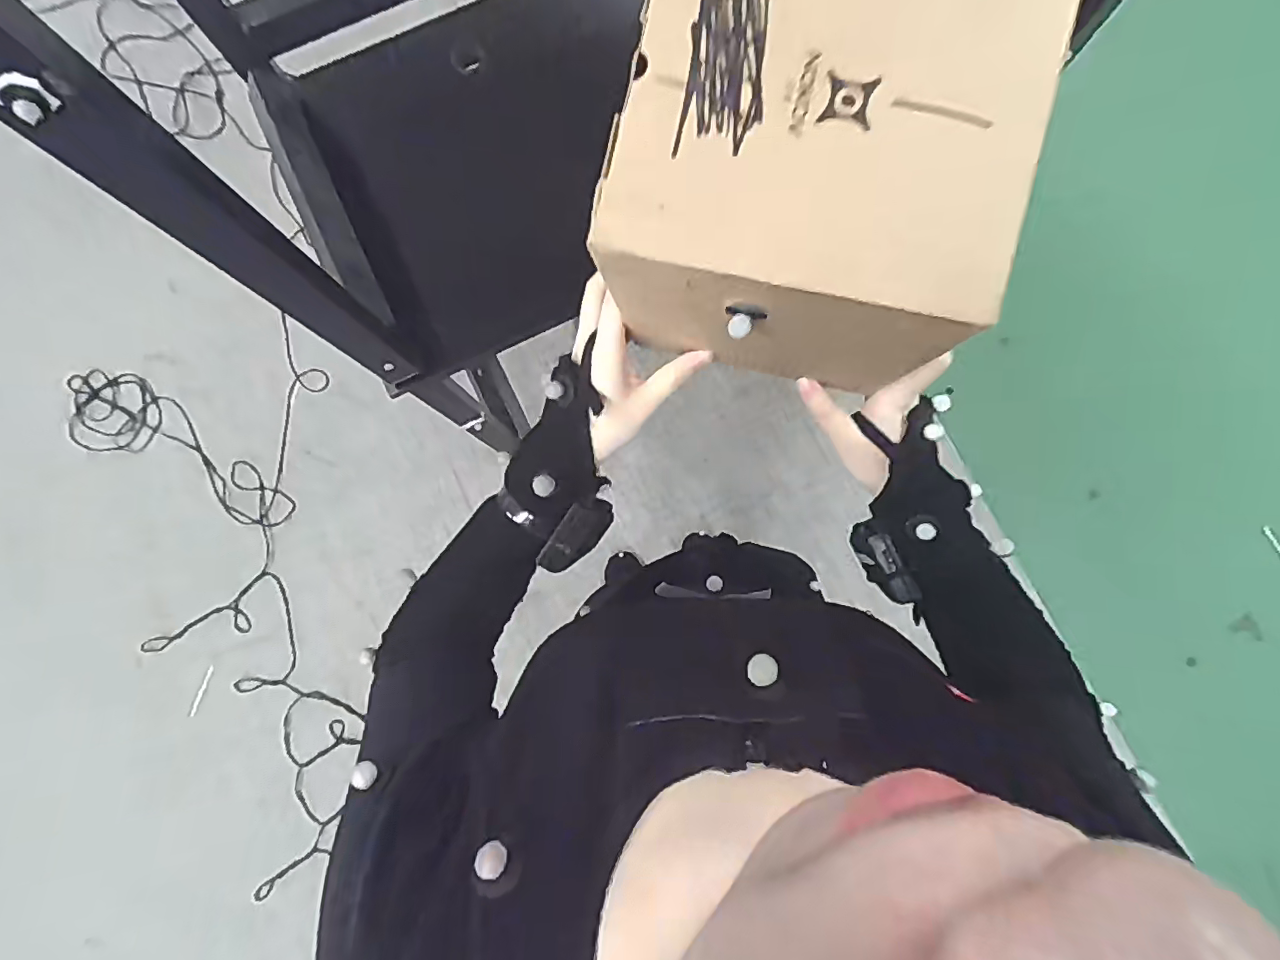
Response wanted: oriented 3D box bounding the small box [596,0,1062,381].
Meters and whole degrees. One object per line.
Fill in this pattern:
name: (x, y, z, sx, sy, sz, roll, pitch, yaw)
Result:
small box: (0.090, -0.166, 0.319, 0.179, 0.176, 0.168, 14, 91, 6)
